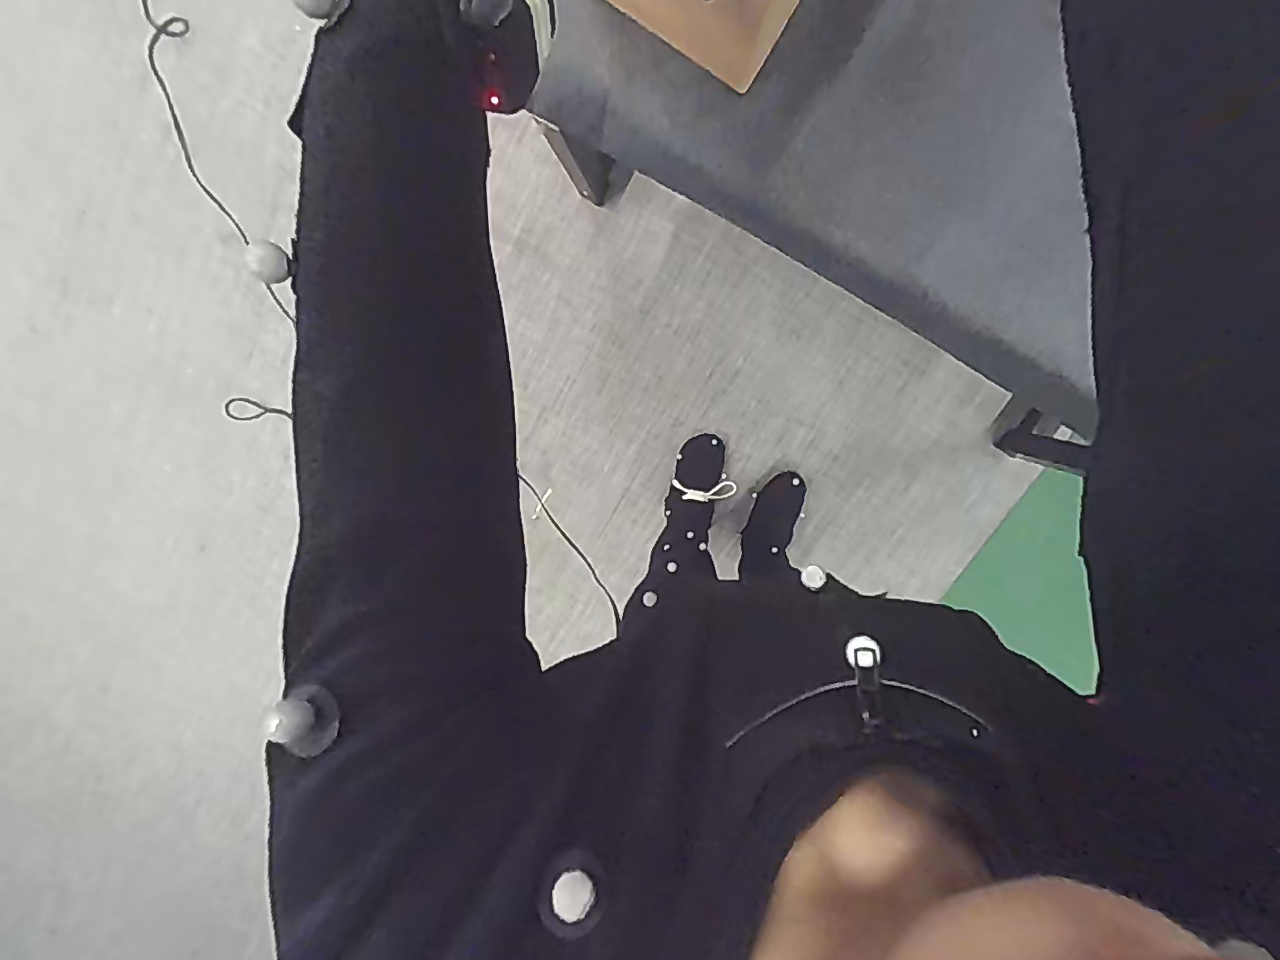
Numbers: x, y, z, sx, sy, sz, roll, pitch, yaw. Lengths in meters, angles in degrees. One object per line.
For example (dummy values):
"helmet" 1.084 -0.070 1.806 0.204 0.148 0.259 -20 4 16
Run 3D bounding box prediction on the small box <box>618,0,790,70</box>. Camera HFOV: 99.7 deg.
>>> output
"small box" 0.062 -0.457 0.400 0.179 0.176 0.168 32 101 -5
